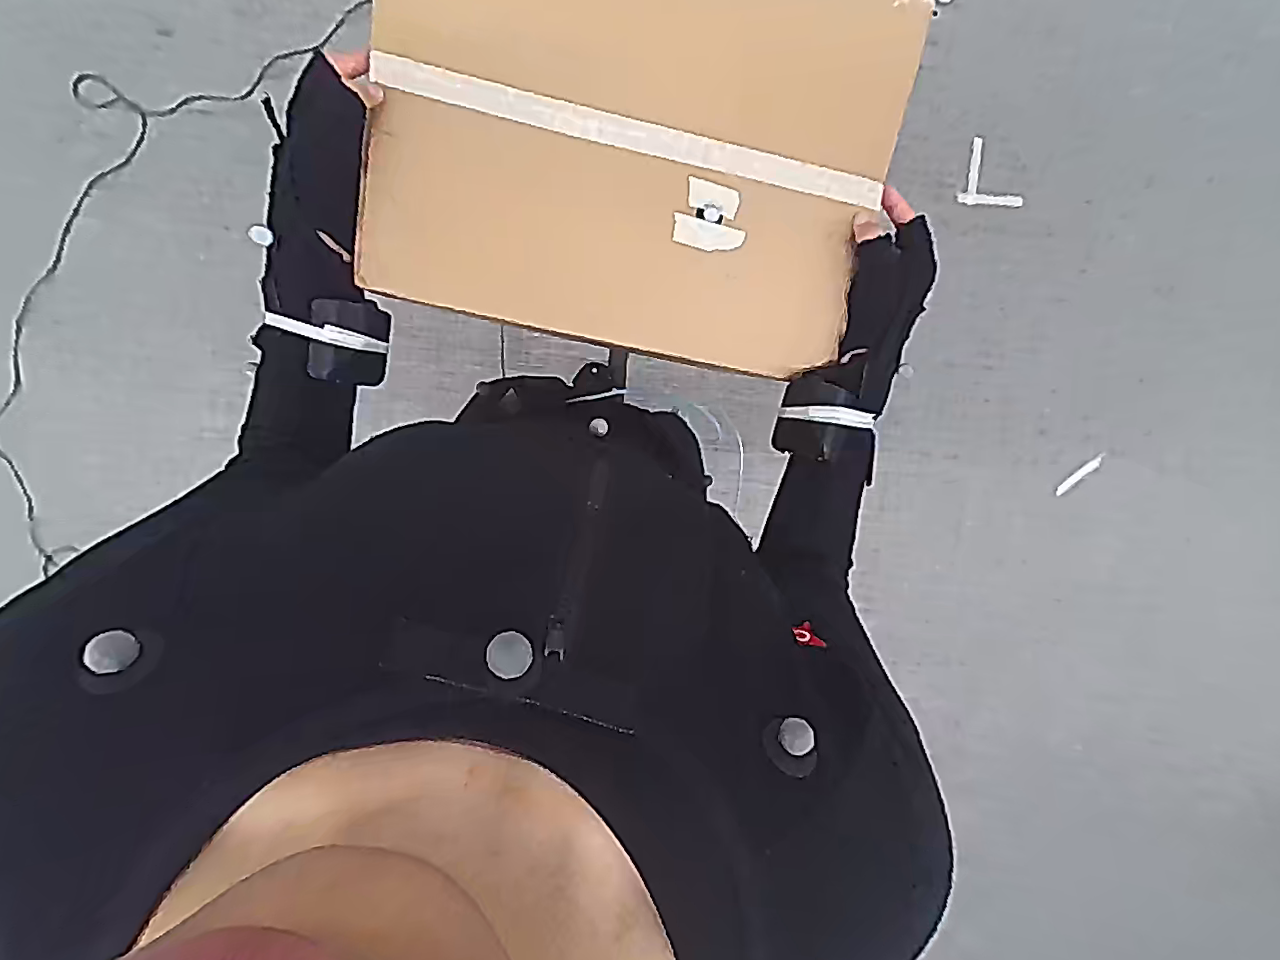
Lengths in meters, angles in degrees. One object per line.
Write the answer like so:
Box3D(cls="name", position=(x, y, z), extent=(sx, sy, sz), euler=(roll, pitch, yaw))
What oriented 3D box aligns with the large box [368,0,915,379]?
Box3D(cls="large box", position=(-0.018, -0.301, 0.575), extent=(0.408, 0.320, 0.320), euler=(10, 104, -8))
